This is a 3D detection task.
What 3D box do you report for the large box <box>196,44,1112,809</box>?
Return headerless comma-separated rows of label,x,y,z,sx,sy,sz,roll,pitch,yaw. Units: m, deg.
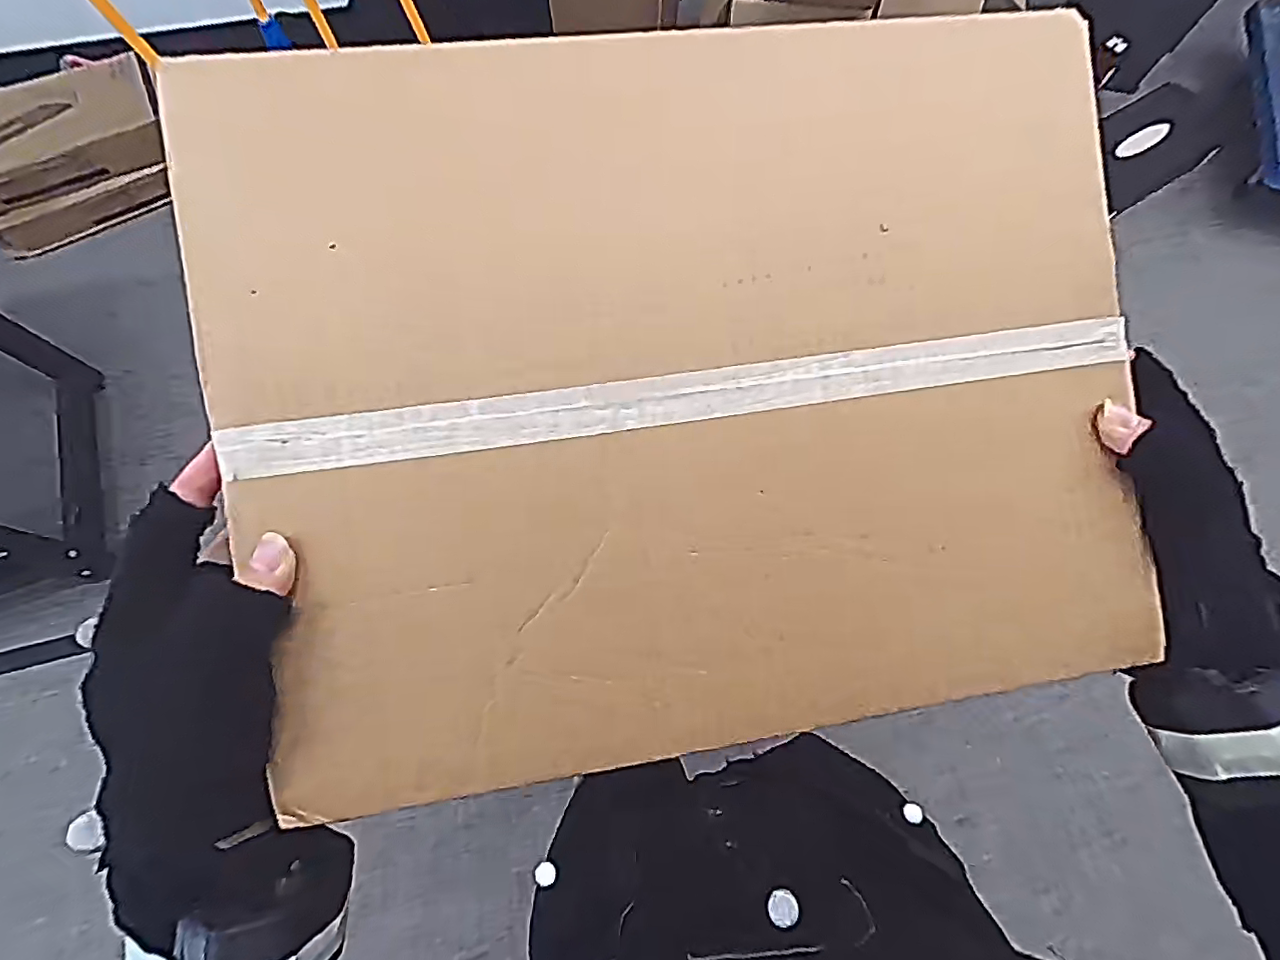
large box,0.013,-0.038,0.399,0.408,0.320,0.320,-8,91,-6
